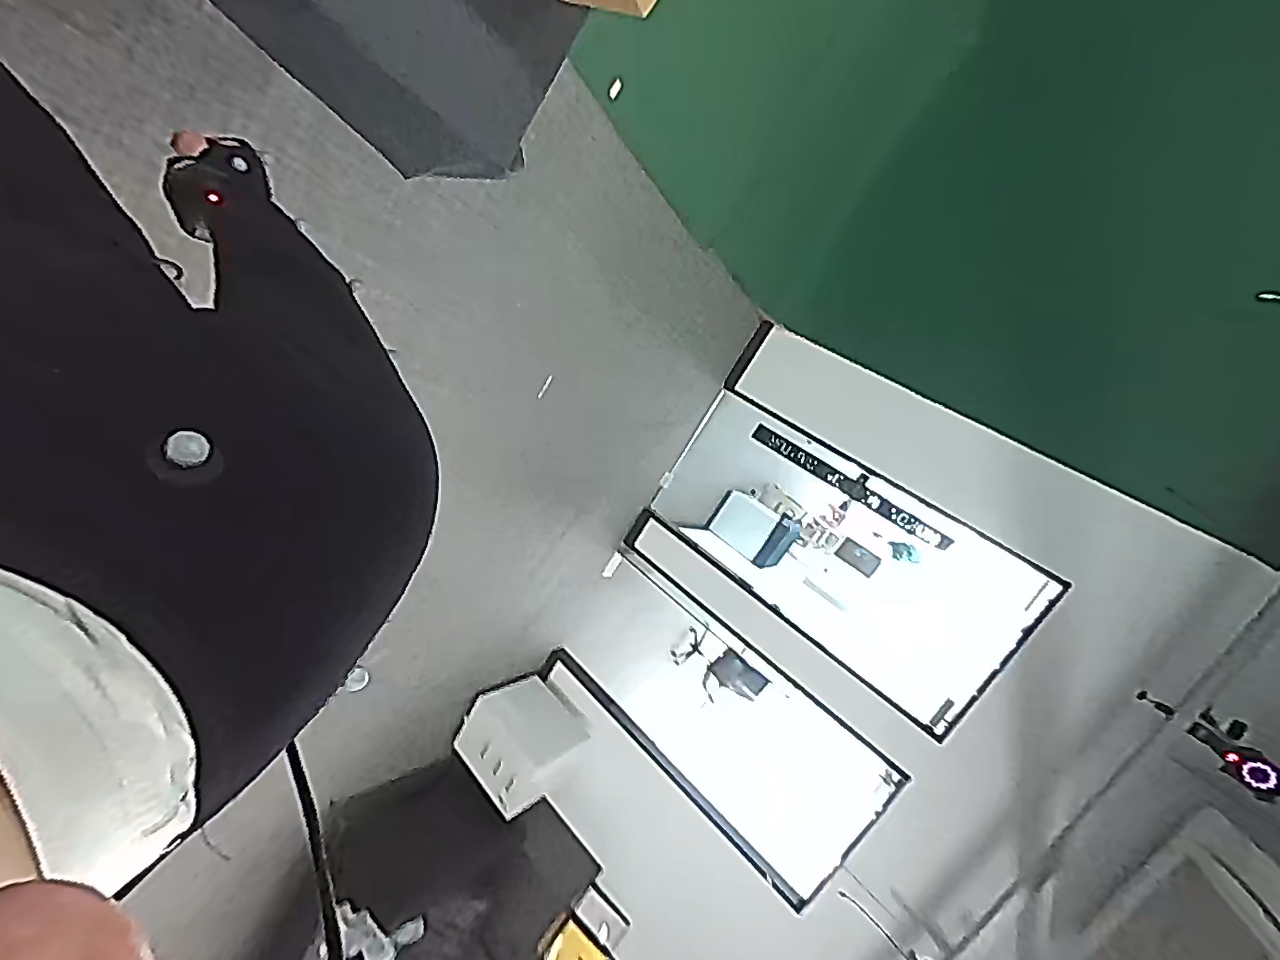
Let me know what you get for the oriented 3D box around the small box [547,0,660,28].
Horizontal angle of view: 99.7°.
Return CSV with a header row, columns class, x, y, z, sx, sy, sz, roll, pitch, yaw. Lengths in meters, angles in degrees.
class,x,y,z,sx,sy,sz,roll,pitch,yaw
small box,-0.042,-0.674,0.613,0.179,0.176,0.168,-54,151,3
